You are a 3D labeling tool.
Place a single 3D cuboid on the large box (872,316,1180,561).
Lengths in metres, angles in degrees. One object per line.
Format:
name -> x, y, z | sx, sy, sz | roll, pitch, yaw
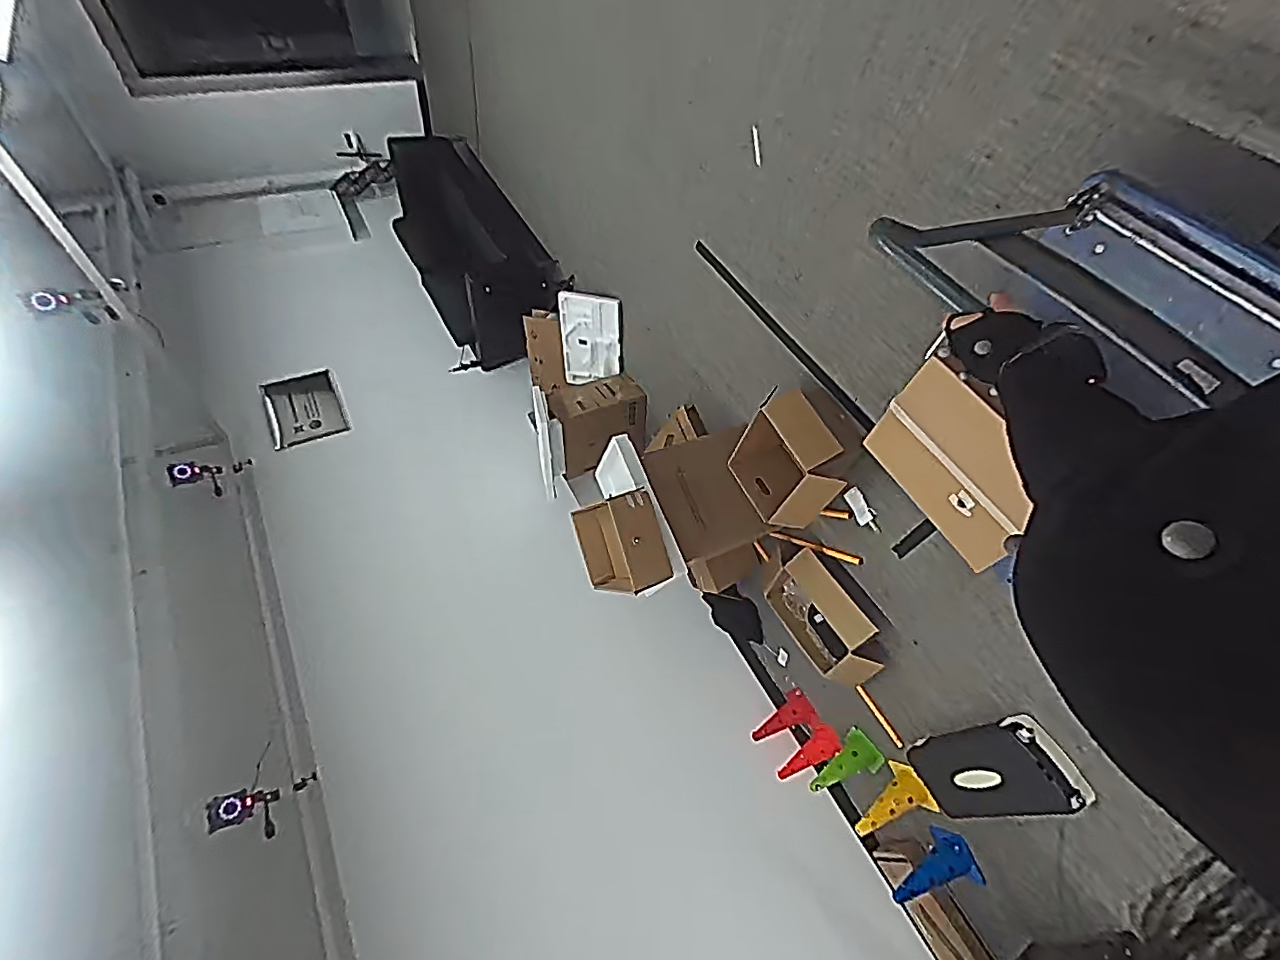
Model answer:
large box -> 0.833, -0.101, 1.220 | 0.408, 0.320, 0.320 | 57, 156, 25
